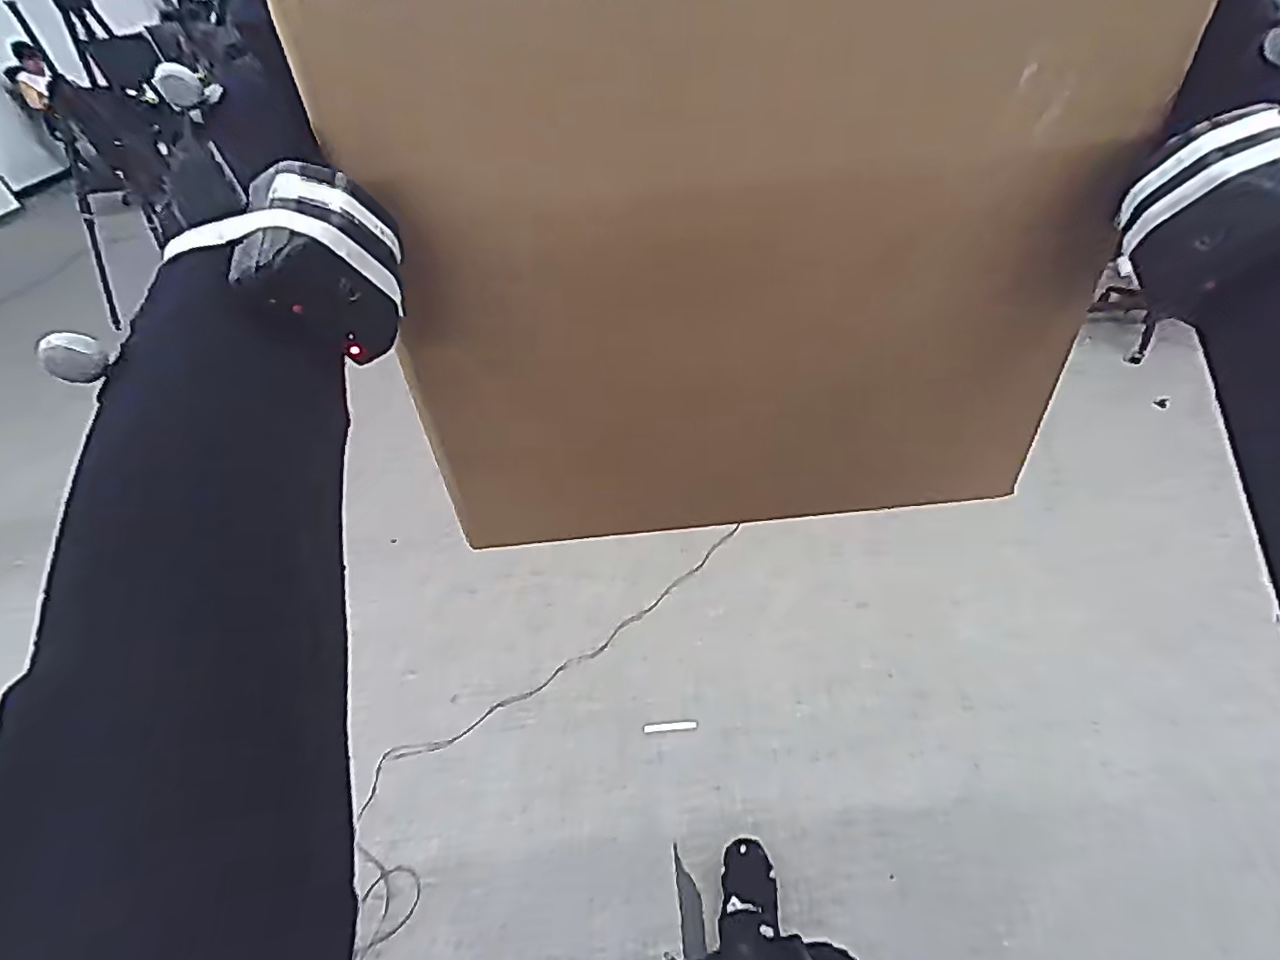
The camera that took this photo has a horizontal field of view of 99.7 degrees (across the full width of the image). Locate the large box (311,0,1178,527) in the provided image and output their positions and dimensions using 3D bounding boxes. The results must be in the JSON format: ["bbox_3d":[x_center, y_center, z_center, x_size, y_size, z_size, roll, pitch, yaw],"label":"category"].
[{"bbox_3d":[0.052,-0.188,0.437,0.408,0.320,0.320,-5,37,-1],"label":"large box"}]
